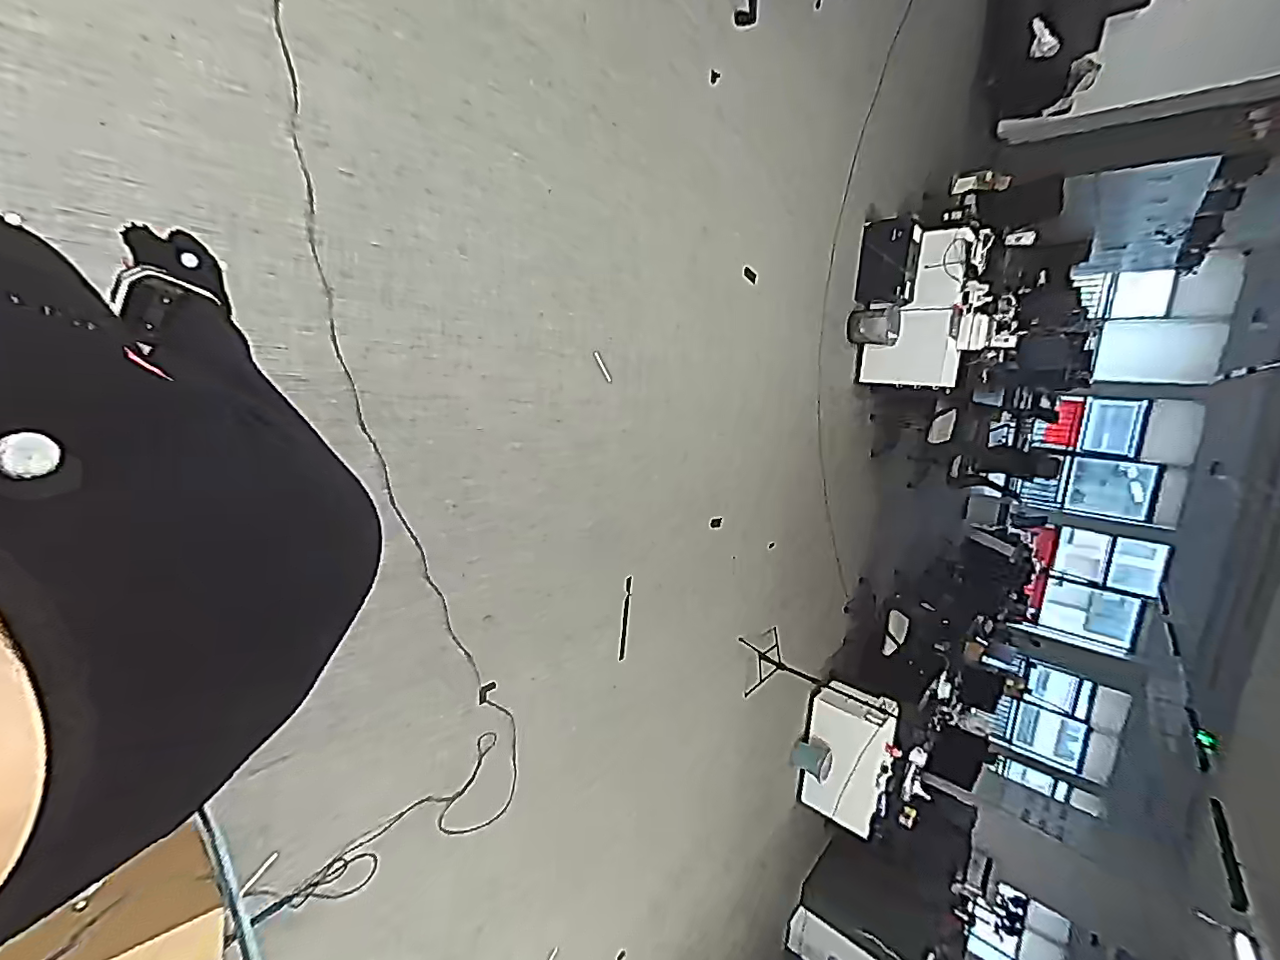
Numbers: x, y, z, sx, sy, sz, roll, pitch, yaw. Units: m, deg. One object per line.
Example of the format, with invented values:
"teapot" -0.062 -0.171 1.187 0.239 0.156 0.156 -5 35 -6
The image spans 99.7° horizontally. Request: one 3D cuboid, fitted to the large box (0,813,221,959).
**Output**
"large box" -1.139 0.981 1.092 0.408 0.320 0.320 -1 101 -51
